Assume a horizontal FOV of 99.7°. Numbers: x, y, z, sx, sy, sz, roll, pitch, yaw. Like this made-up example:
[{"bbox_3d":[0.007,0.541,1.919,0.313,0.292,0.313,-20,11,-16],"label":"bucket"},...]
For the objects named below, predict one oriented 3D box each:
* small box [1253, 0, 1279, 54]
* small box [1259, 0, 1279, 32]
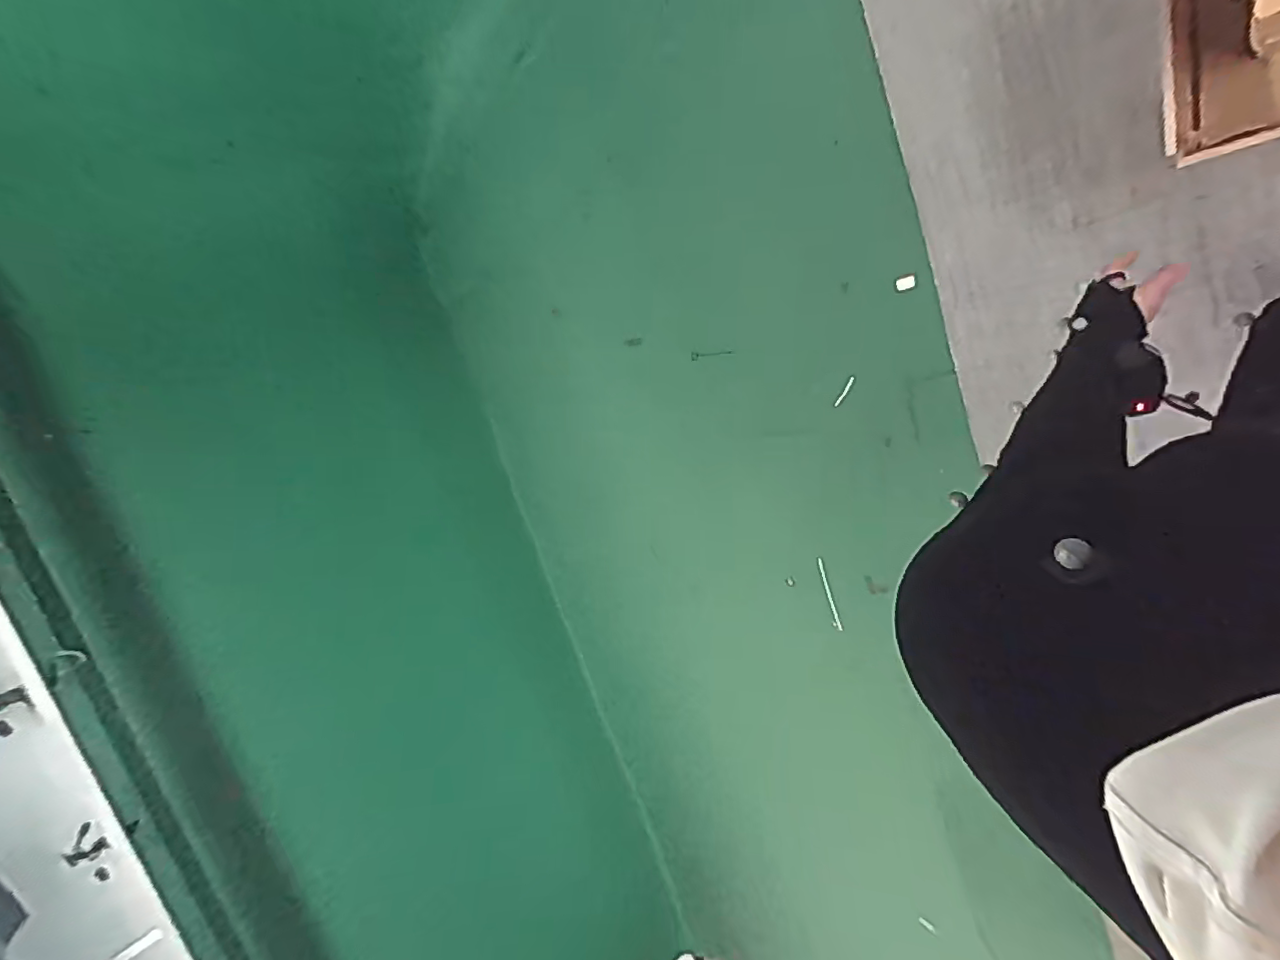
[{"bbox_3d":[0.863,-0.639,0.633,0.179,0.176,0.168,6,114,50],"label":"small box"},{"bbox_3d":[0.743,-0.589,0.533,0.168,0.176,0.179,4,113,51],"label":"small box"}]
